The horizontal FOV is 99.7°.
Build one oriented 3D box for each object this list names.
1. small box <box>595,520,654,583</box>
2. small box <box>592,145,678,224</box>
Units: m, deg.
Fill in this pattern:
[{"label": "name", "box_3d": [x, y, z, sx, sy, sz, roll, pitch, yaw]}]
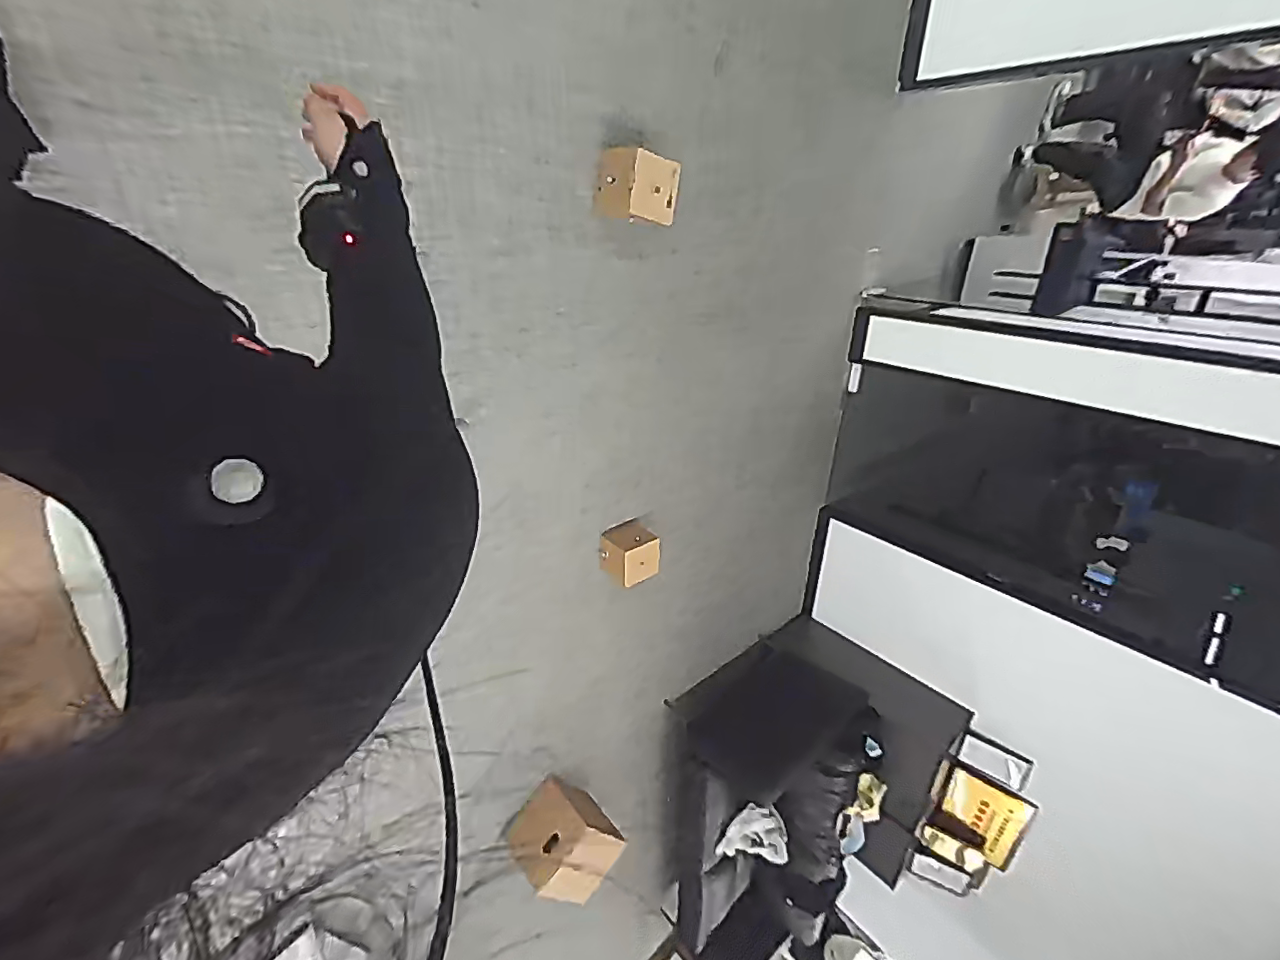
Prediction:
[{"label": "small box", "box_3d": [-0.063, 0.281, 2.175, 0.179, 0.176, 0.168, -19, 123, -36]}, {"label": "small box", "box_3d": [-0.019, -0.862, 1.592, 0.179, 0.176, 0.168, -6, 115, -42]}]
